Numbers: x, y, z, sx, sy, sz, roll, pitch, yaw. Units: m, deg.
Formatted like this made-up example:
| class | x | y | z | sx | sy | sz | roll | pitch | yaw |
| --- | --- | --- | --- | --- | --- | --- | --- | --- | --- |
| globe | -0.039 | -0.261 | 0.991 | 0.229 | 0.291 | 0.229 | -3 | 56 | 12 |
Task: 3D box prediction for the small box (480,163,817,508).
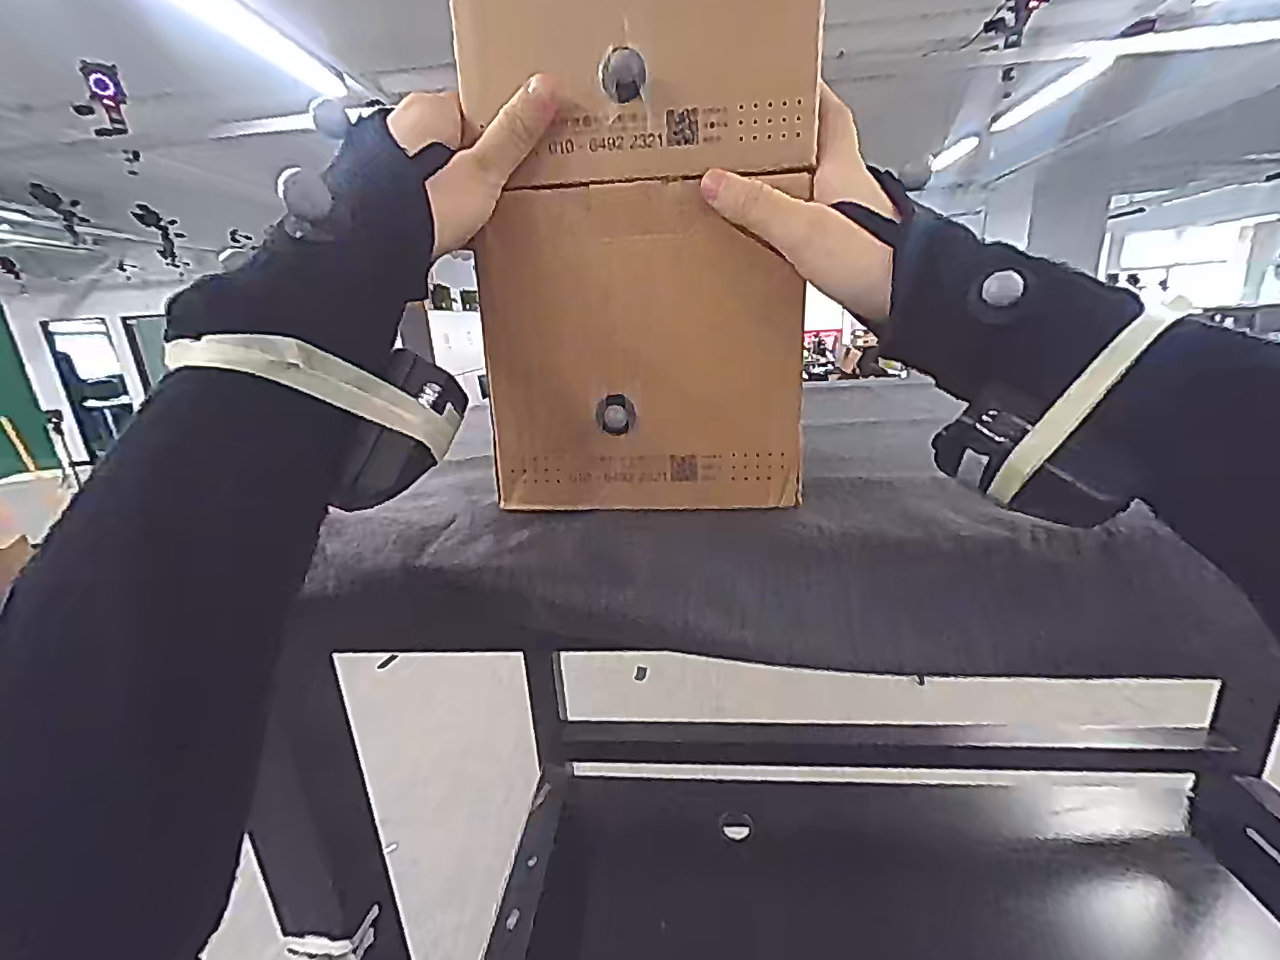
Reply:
| class | x | y | z | sx | sy | sz | roll | pitch | yaw |
| --- | --- | --- | --- | --- | --- | --- | --- | --- | --- |
| small box | 0.010 | -0.087 | 0.355 | 0.168 | 0.176 | 0.179 | -1 | 15 | 4 |
